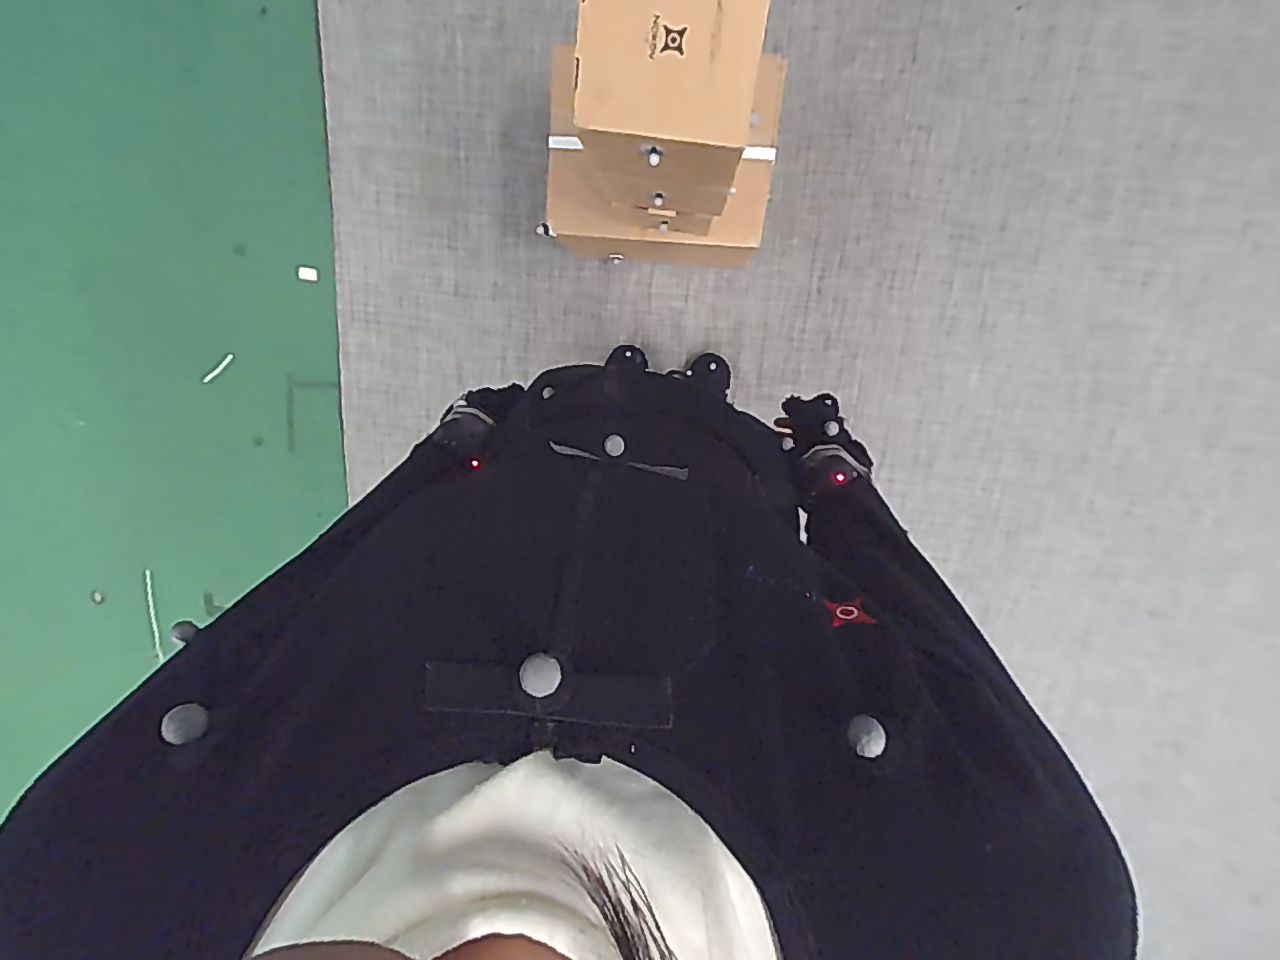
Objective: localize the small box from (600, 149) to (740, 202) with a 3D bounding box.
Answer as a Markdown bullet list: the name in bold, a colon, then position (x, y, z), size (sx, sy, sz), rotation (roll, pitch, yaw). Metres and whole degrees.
- **small box**: position (0.053, -0.488, 0.733), size (0.179, 0.176, 0.168), rotation (9, 107, 5)

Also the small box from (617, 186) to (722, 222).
- **small box**: position (0.064, -0.537, 0.890), size (0.168, 0.176, 0.179), rotation (9, 107, 4)

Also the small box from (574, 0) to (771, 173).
- **small box**: position (0.038, -0.444, 0.578), size (0.179, 0.176, 0.168), rotation (8, 108, 3)
